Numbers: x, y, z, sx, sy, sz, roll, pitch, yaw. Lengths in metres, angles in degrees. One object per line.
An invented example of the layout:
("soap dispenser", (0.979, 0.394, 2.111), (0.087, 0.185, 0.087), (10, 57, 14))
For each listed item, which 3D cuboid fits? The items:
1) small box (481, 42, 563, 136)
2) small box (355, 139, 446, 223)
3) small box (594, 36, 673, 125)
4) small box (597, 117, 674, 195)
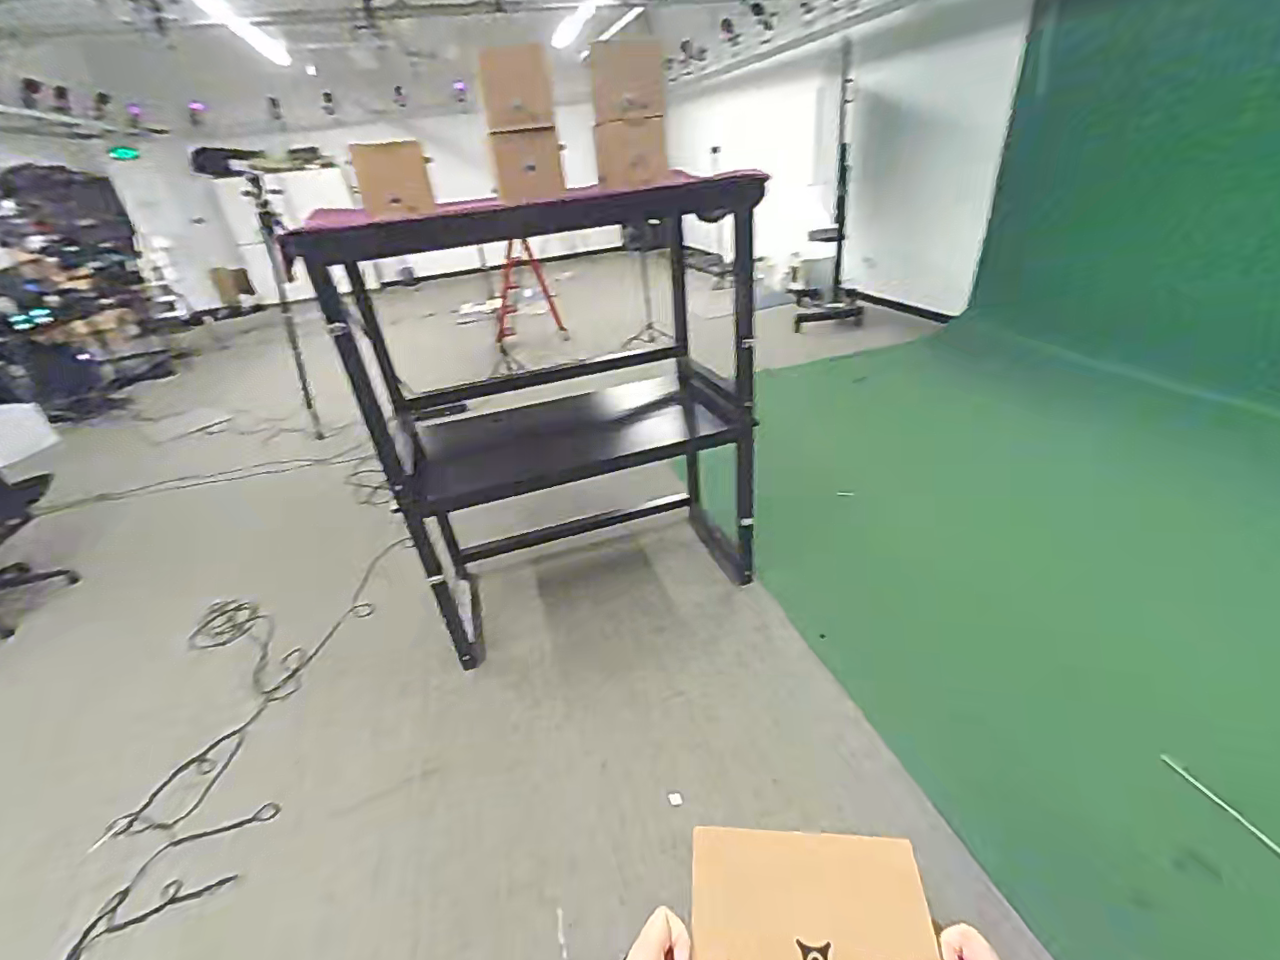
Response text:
("small box", (-0.294, -0.963, 1.344), (0.168, 0.176, 0.179), (-13, 32, -9))
("small box", (-0.590, -0.740, 1.348), (0.168, 0.176, 0.179), (-15, 31, -16))
("small box", (-0.018, -1.033, 1.414), (0.168, 0.176, 0.179), (-13, 32, -9))
("small box", (-0.012, -0.893, 1.497), (0.168, 0.176, 0.179), (-14, 32, -12))
